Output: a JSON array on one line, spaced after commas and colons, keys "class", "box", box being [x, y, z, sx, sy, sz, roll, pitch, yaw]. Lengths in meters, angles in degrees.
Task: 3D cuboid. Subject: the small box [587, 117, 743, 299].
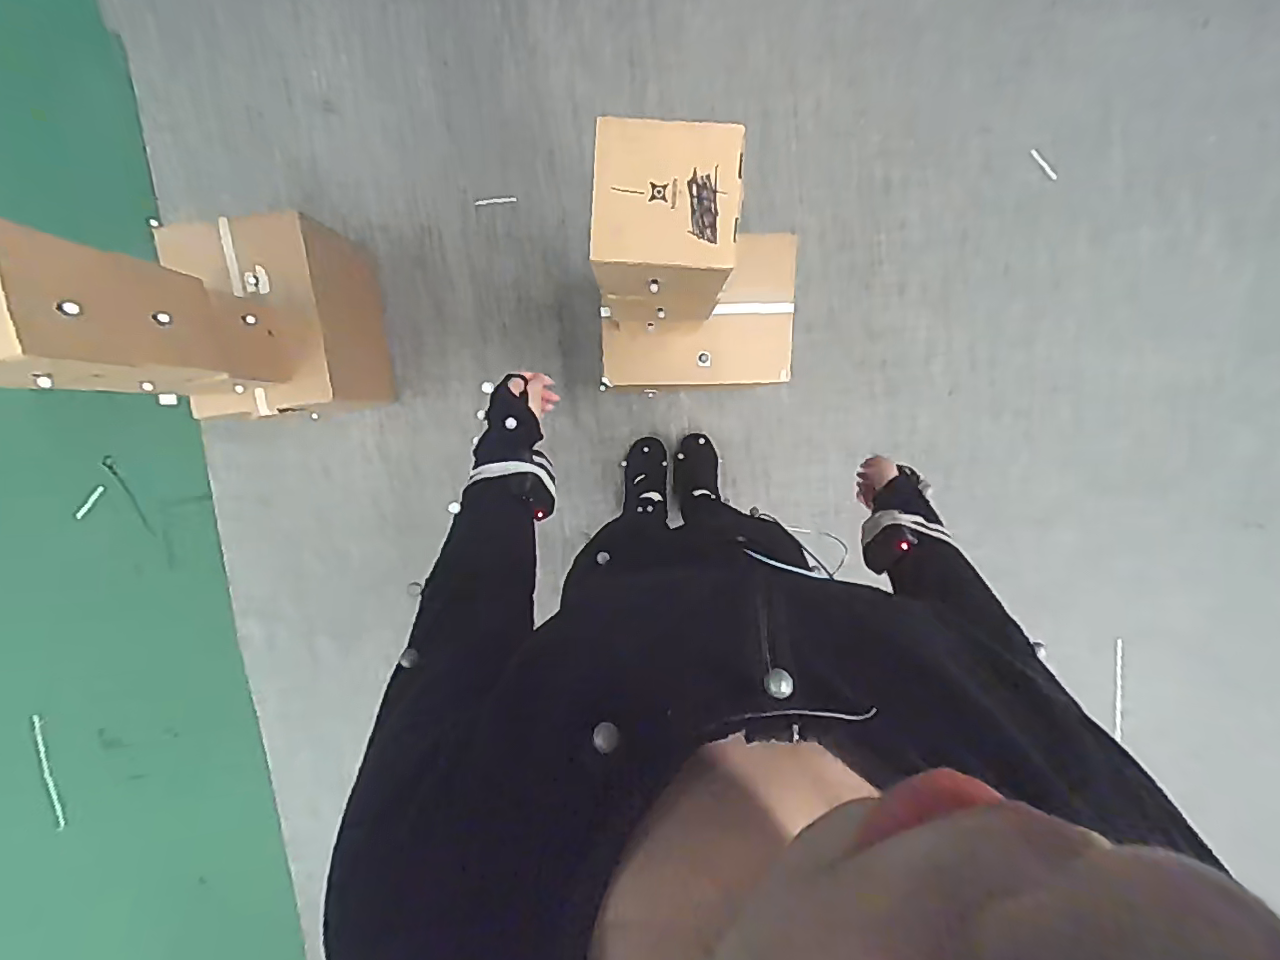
[{"class": "small box", "box": [0.029, -0.345, 0.719, 0.179, 0.176, 0.168, 4, 96, 1]}]

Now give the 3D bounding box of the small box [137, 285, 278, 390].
[{"class": "small box", "box": [-0.846, -0.270, 1.058, 0.179, 0.176, 0.168, -8, 97, 2]}]

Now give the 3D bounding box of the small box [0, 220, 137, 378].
[{"class": "small box", "box": [-0.845, -0.236, 0.731, 0.168, 0.176, 0.179, -10, 97, 1]}]

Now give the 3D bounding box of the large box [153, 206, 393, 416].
[{"class": "large box", "box": [-0.837, -0.371, 1.291, 0.320, 0.320, 0.408, -7, 96, 1]}]

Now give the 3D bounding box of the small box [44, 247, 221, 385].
[{"class": "small box", "box": [-0.847, -0.257, 0.895, 0.168, 0.176, 0.179, -12, 96, 1]}]

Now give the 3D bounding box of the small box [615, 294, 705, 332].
[{"class": "small box", "box": [0.038, -0.386, 1.046, 0.168, 0.176, 0.179, 0, 96, -1]}]
